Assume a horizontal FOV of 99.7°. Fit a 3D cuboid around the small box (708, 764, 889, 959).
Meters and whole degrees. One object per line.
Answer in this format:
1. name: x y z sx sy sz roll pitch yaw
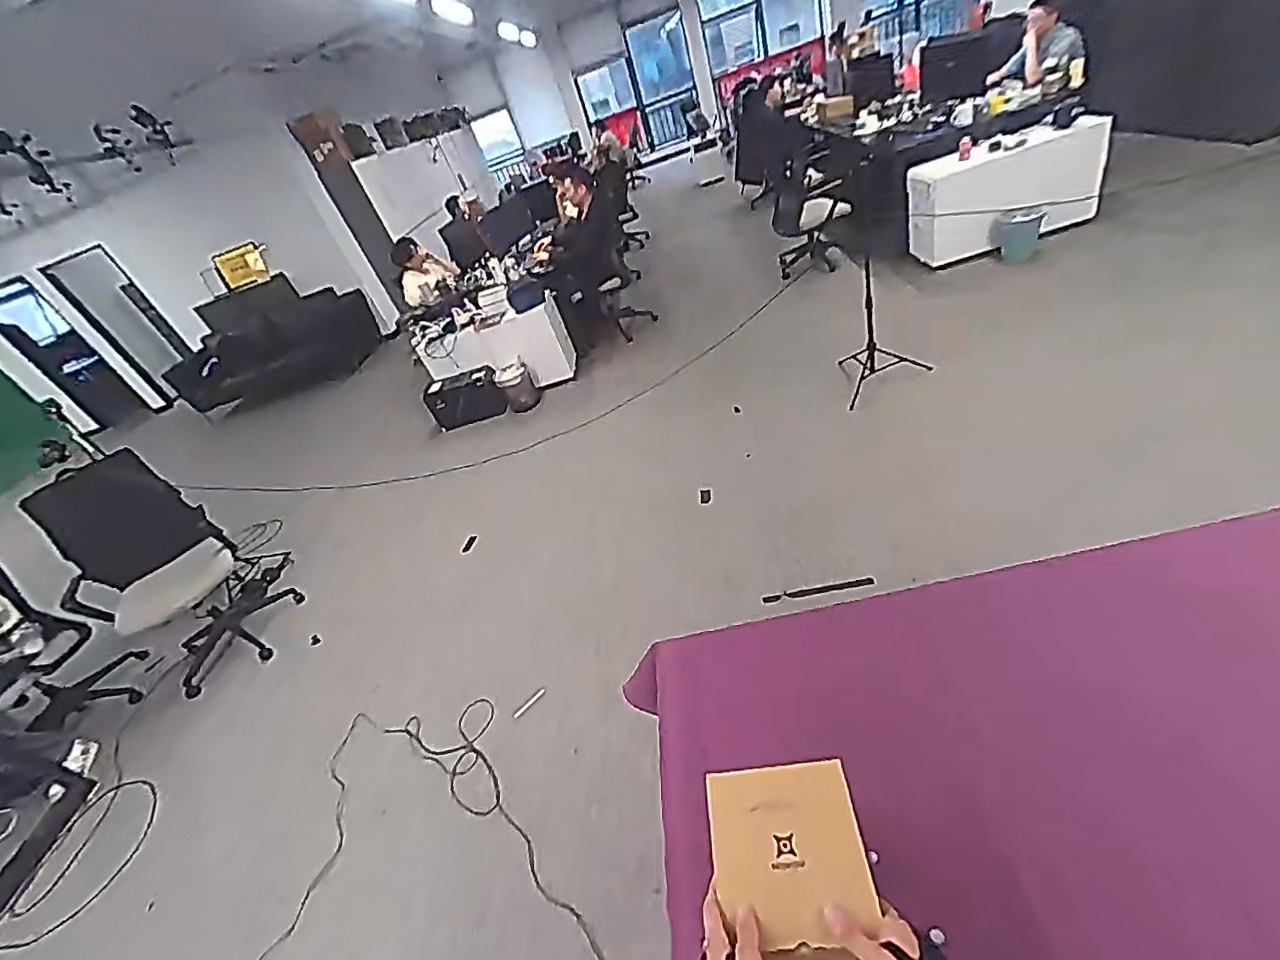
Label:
1. small box: 0.183 0.466 0.639 0.168 0.176 0.179 -12 40 10
